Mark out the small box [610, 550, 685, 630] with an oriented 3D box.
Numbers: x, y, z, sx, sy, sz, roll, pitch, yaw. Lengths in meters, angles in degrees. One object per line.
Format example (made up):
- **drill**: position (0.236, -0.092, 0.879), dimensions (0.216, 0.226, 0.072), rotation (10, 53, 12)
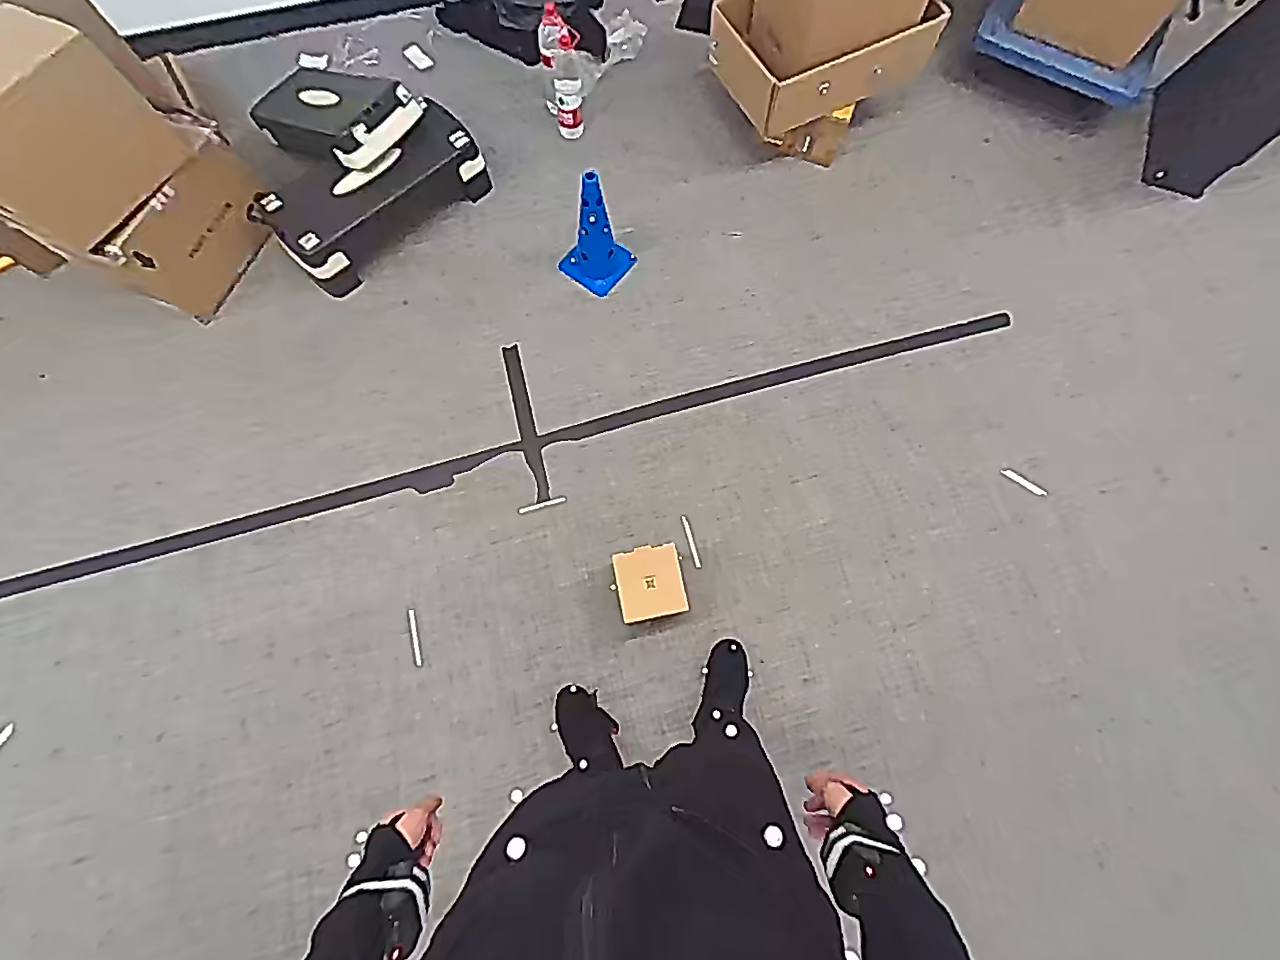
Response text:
- **small box**: position (0.018, 0.296, 1.432), dimensions (0.168, 0.176, 0.179), rotation (-10, 73, -4)
